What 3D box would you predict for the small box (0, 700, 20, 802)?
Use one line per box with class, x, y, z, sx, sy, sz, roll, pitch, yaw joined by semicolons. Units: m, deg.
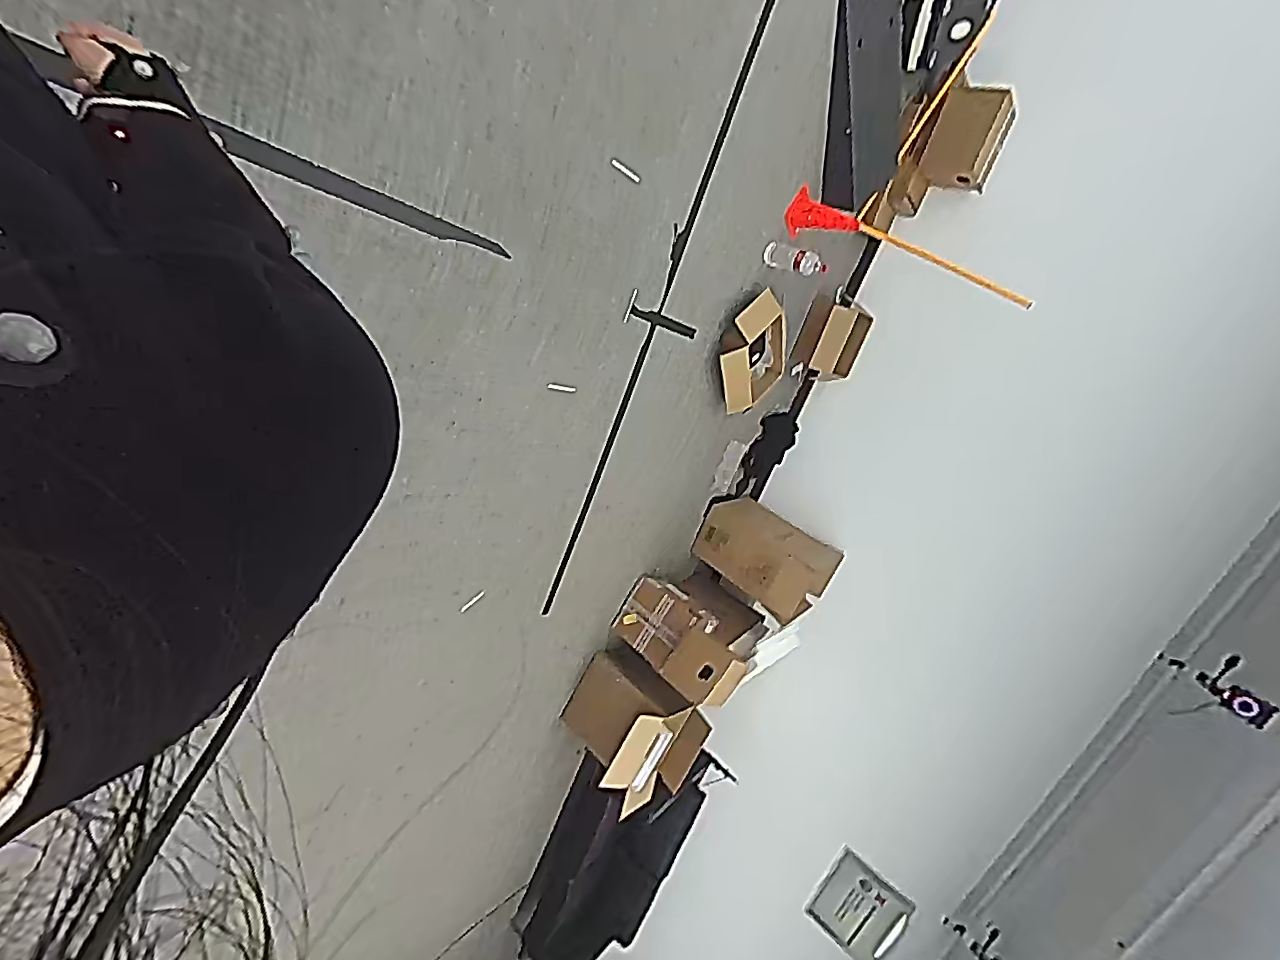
small box;-1.489;0.609;1.176;0.168;0.176;0.179;-7;123;-52
